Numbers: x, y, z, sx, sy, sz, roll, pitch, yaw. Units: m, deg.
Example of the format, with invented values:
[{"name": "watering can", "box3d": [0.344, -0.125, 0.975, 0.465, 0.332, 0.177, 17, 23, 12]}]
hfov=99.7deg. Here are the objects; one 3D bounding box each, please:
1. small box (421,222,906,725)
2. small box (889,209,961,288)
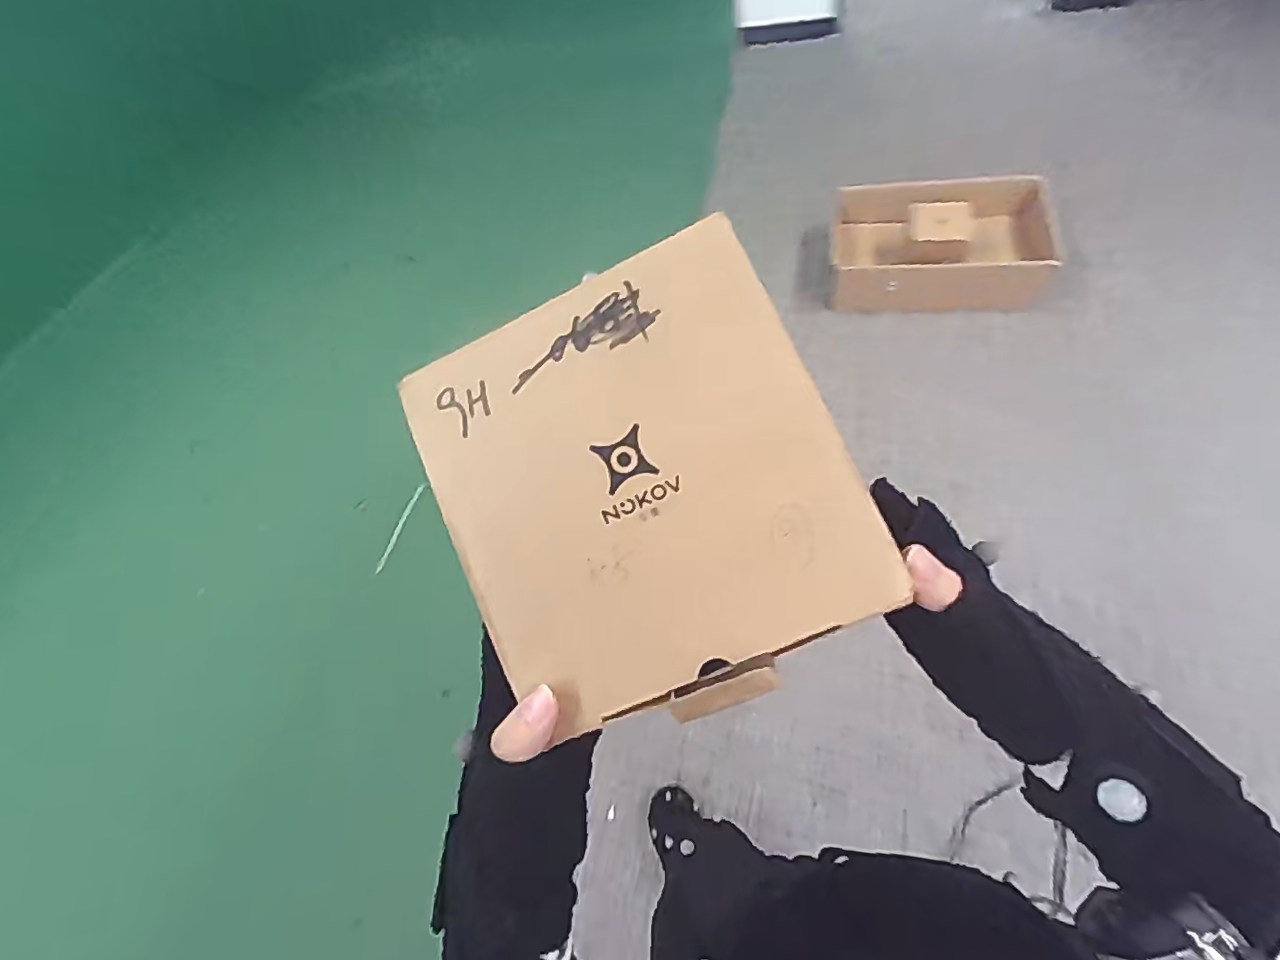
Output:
[{"name": "small box", "box3d": [0.016, 0.002, 0.311, 0.168, 0.176, 0.179, -24, 83, 8]}, {"name": "small box", "box3d": [0.904, -0.735, 1.725, 0.168, 0.176, 0.179, 6, 60, 14]}]
